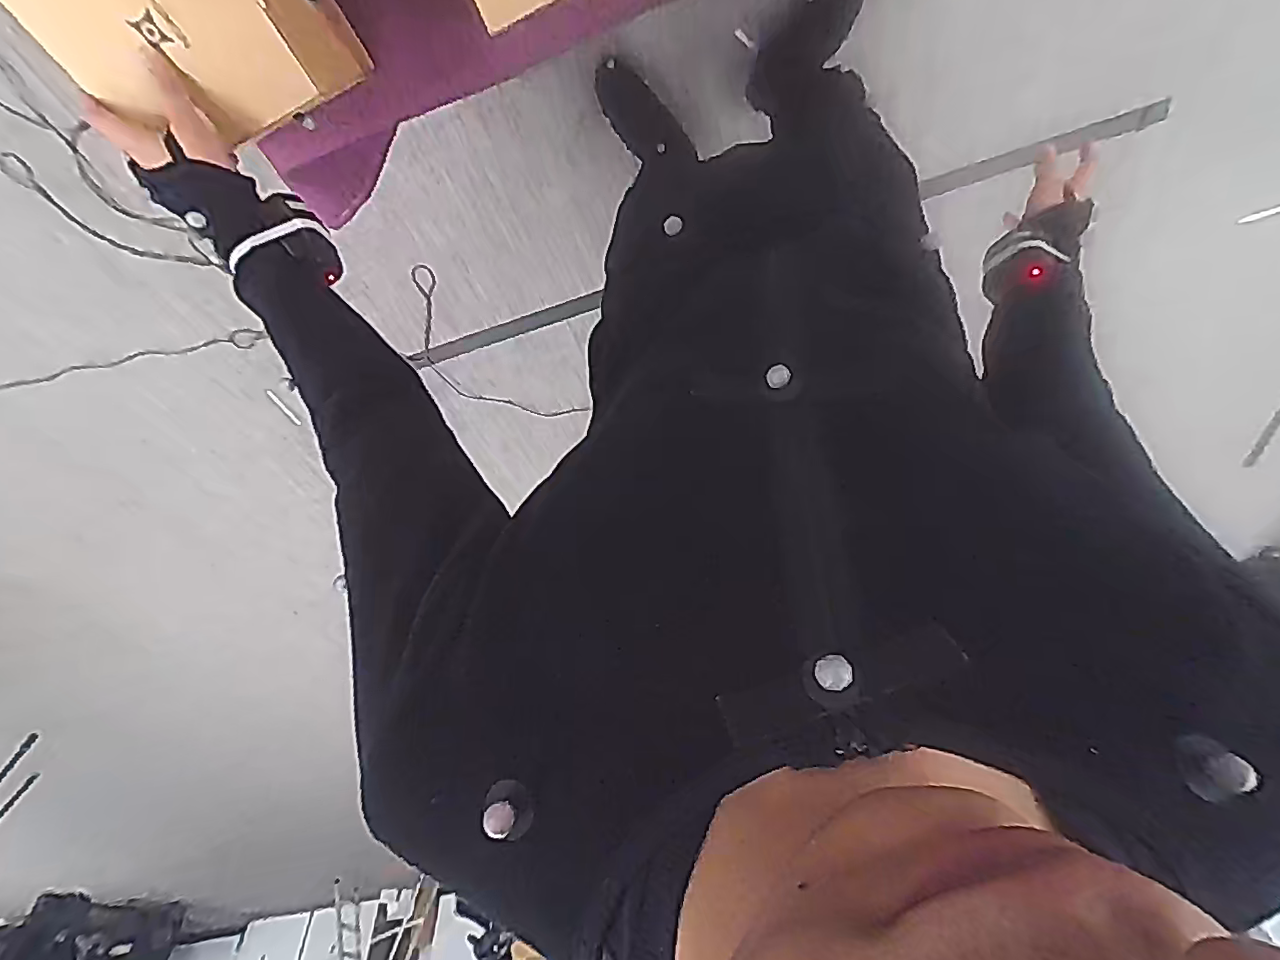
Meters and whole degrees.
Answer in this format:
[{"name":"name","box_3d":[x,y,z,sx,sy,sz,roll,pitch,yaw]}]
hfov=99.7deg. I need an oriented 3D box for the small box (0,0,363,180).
[{"name":"small box","box_3d":[-0.388,-0.406,0.482,0.179,0.176,0.168,-21,132,11]}]
